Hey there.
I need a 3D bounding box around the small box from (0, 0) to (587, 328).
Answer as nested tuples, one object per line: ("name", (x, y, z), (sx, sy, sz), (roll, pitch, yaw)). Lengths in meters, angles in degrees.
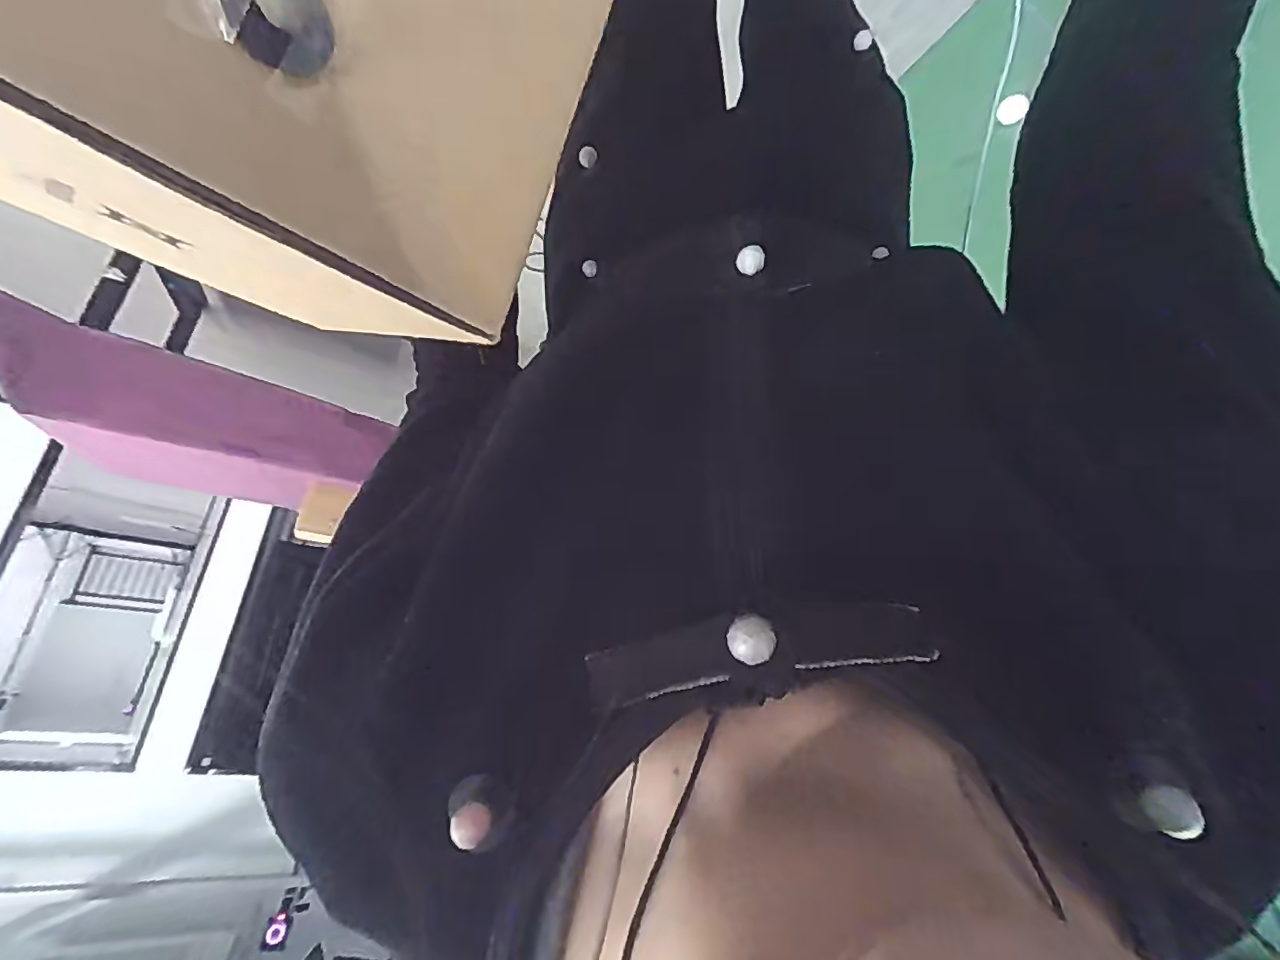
("small box", (-0.131, -0.162, 0.157), (0.168, 0.176, 0.179), (14, 175, 40))
